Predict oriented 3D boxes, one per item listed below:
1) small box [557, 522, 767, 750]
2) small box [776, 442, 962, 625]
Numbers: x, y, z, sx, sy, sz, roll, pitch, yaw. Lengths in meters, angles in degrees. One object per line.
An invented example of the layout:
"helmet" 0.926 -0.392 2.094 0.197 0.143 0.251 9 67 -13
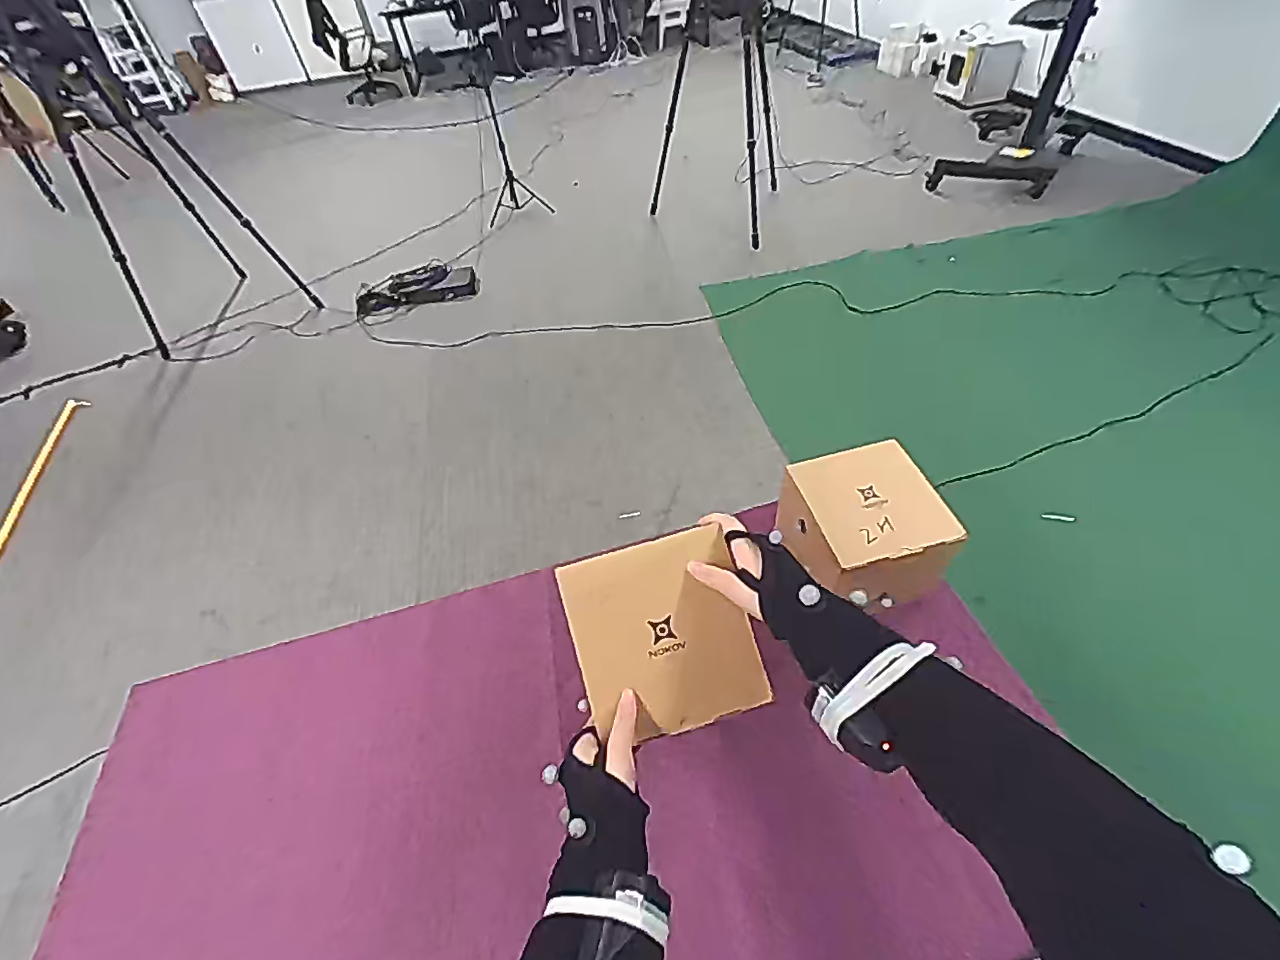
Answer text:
"small box" 0.015 0.154 0.587 0.168 0.176 0.179 -16 84 -4
"small box" 0.304 0.077 0.768 0.168 0.176 0.179 -14 51 -3
